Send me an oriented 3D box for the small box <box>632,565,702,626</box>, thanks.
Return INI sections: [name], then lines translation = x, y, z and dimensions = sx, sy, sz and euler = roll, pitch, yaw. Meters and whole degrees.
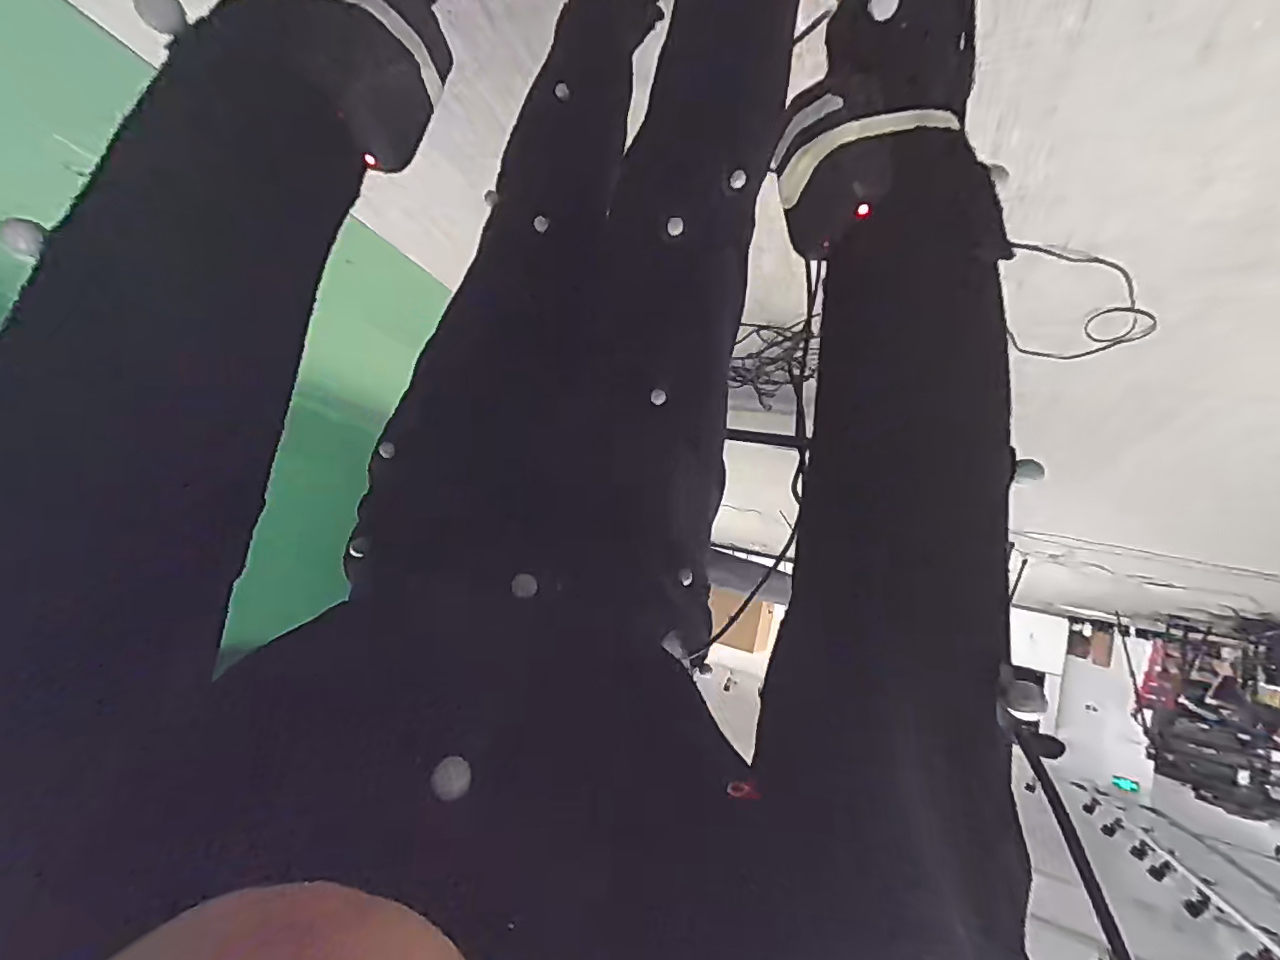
[small box]
translation = 0.097, 0.385, 1.822
dimensions = 0.179, 0.176, 0.168
euler = 9, 172, 29
